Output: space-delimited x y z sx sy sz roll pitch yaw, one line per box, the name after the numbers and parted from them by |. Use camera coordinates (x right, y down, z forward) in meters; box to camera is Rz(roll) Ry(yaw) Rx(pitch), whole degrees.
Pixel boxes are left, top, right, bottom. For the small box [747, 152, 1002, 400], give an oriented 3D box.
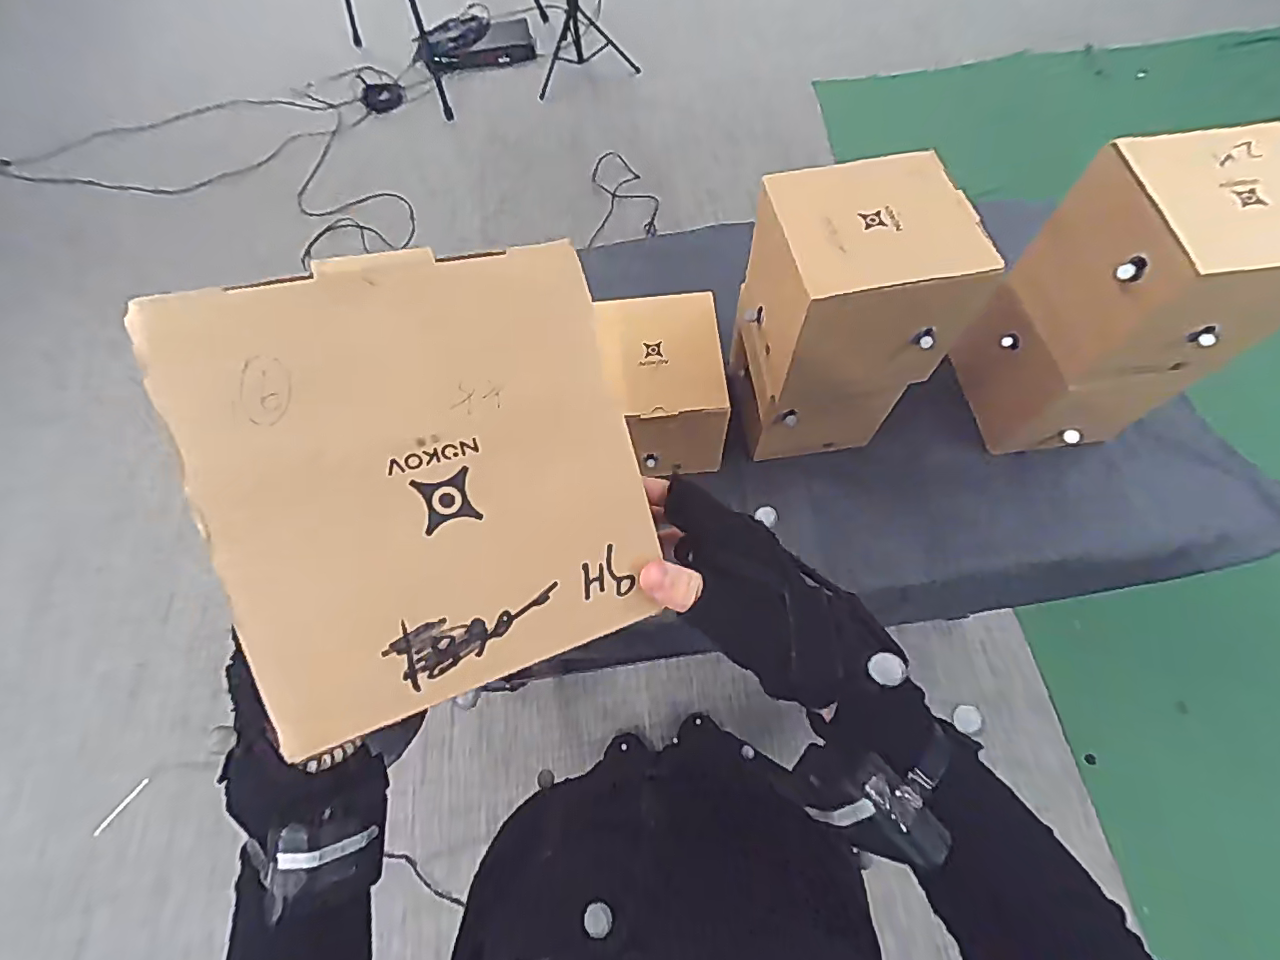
0.225 -0.206 0.575 0.179 0.176 0.168 -9 64 0 | small box

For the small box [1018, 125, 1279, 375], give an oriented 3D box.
0.545 -0.223 0.562 0.168 0.176 0.179 -5 65 1 | small box

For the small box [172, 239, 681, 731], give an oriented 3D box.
-0.103 -0.005 0.301 0.168 0.176 0.179 -17 95 -20 | small box
